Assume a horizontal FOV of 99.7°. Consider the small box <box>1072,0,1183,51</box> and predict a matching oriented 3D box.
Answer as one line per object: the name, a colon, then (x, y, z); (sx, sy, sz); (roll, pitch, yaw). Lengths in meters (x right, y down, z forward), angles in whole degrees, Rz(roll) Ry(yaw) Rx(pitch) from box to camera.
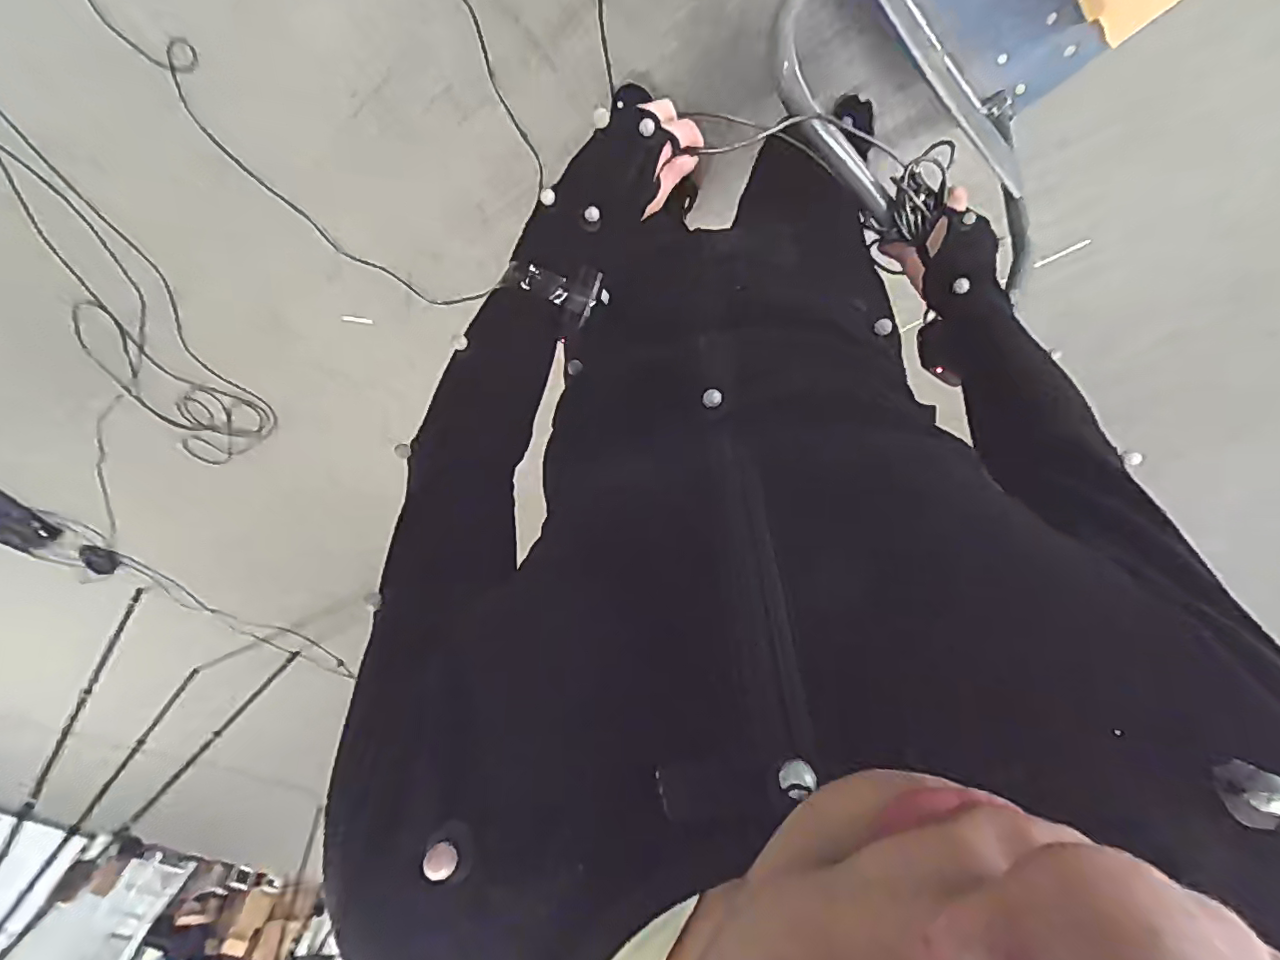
small box: (0.743, -0.800, 0.793); (0.168, 0.176, 0.179); (36, 141, -24)
